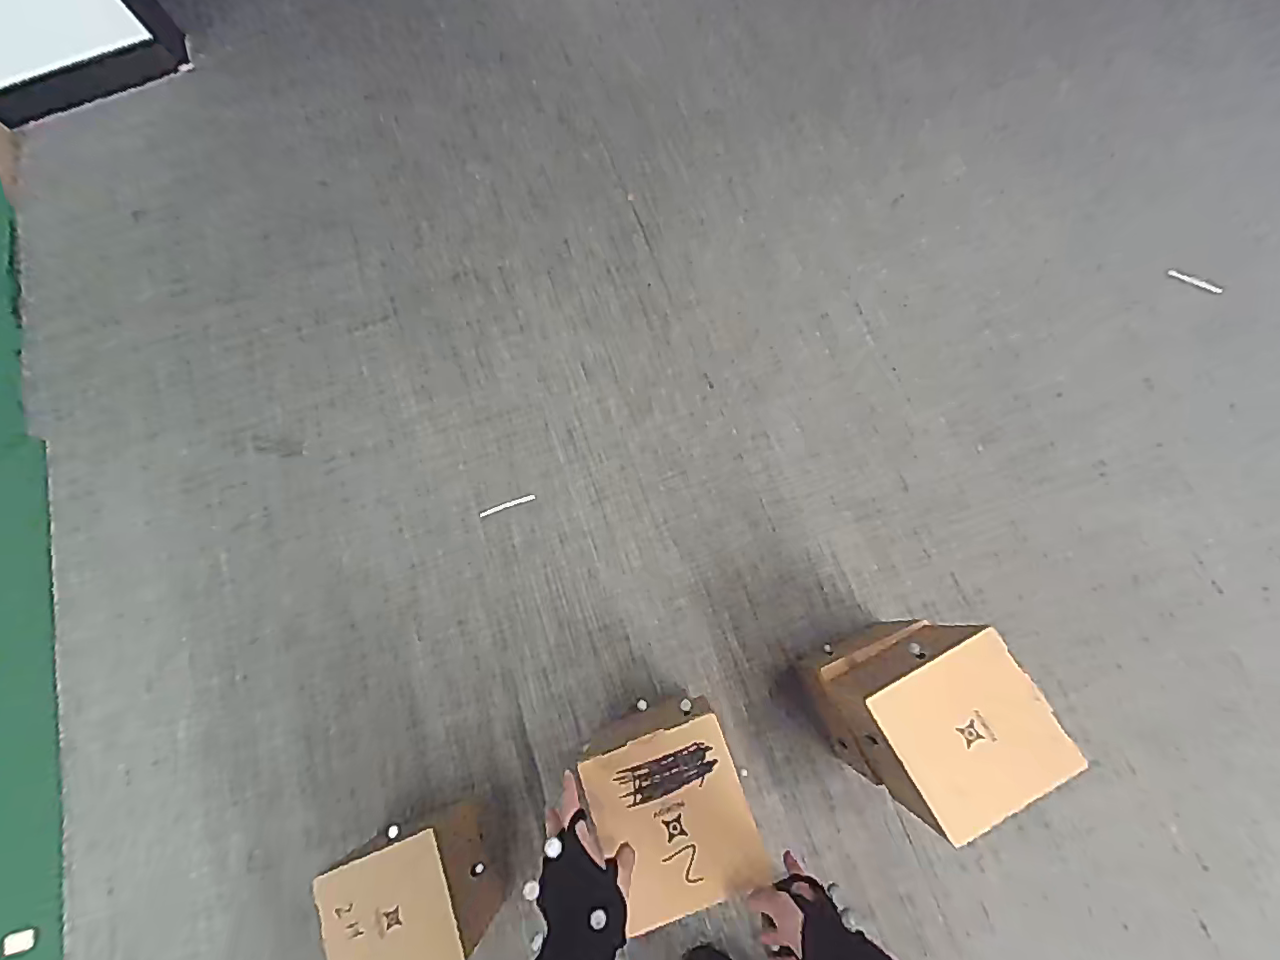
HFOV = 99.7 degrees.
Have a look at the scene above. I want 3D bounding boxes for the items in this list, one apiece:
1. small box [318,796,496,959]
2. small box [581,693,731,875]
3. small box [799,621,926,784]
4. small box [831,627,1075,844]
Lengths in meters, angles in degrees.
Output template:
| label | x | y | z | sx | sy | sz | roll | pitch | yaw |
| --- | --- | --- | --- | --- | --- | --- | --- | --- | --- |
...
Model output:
| label | x | y | z | sx | sy | sz | roll | pitch | yaw |
| --- | --- | --- | --- | --- | --- | --- | --- | --- | --- |
| small box | -0.329 | 0.601 | 0.800 | 0.179 | 0.176 | 0.168 | -22 | 73 | -2 |
| small box | 0.026 | 0.442 | 0.819 | 0.168 | 0.176 | 0.179 | -21 | 73 | -2 |
| small box | 0.361 | 0.328 | 0.828 | 0.179 | 0.176 | 0.168 | -23 | 75 | -3 |
| small box | 0.359 | 0.298 | 0.668 | 0.179 | 0.176 | 0.168 | -28 | 75 | -5 |
